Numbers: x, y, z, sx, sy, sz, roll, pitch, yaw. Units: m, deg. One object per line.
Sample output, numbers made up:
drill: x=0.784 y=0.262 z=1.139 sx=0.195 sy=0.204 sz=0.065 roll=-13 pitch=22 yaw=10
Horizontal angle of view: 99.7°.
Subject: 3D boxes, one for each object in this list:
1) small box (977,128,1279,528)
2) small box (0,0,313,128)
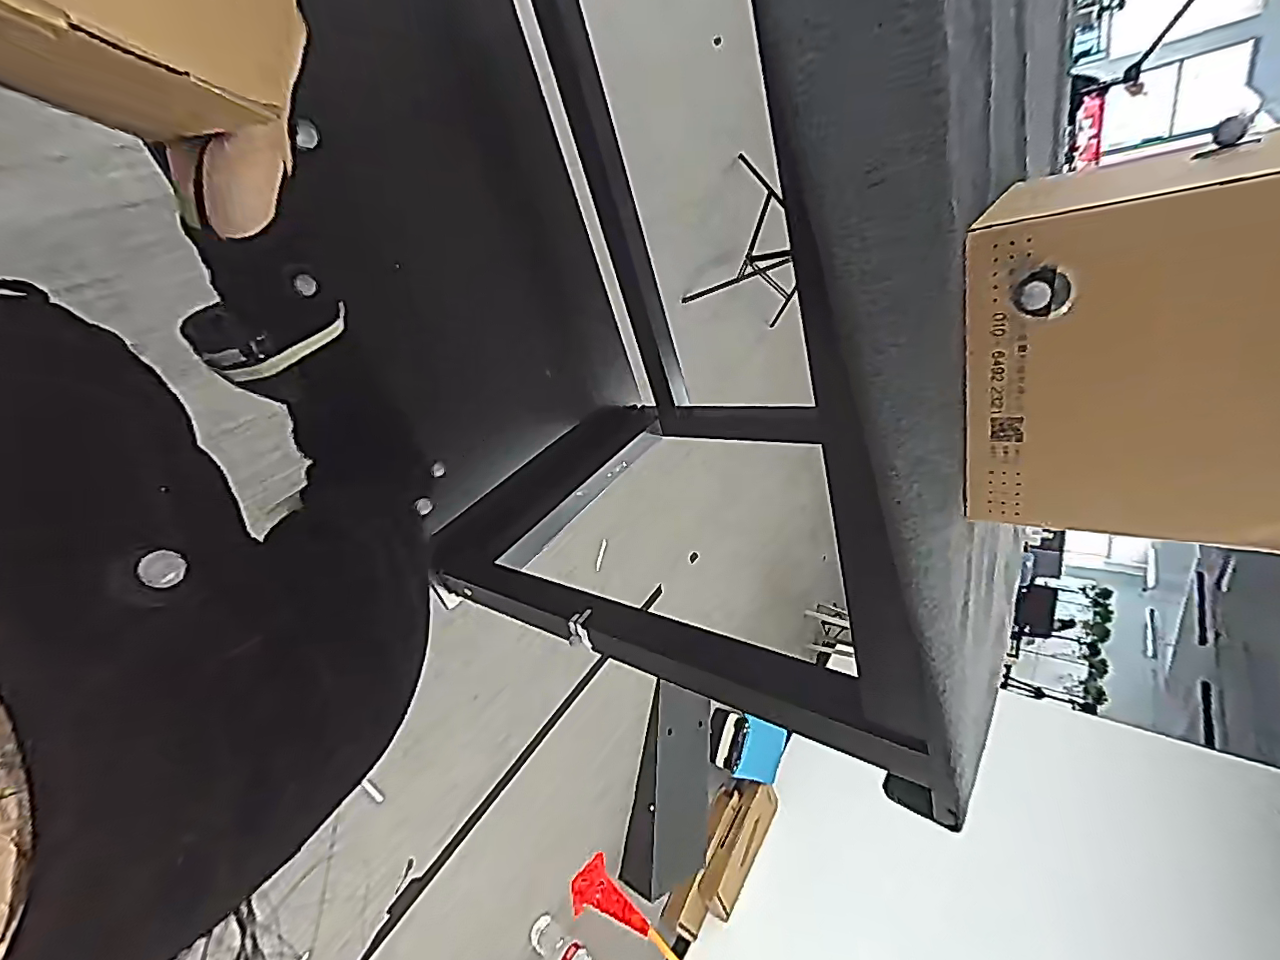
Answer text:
small box: x=0.294 y=-0.084 z=0.298 sx=0.179 sy=0.176 sz=0.168 roll=-41 pitch=125 yaw=-42
small box: x=-0.233 y=-0.249 z=0.179 sx=0.168 sy=0.176 sz=0.179 roll=-9 pitch=113 yaw=-56
